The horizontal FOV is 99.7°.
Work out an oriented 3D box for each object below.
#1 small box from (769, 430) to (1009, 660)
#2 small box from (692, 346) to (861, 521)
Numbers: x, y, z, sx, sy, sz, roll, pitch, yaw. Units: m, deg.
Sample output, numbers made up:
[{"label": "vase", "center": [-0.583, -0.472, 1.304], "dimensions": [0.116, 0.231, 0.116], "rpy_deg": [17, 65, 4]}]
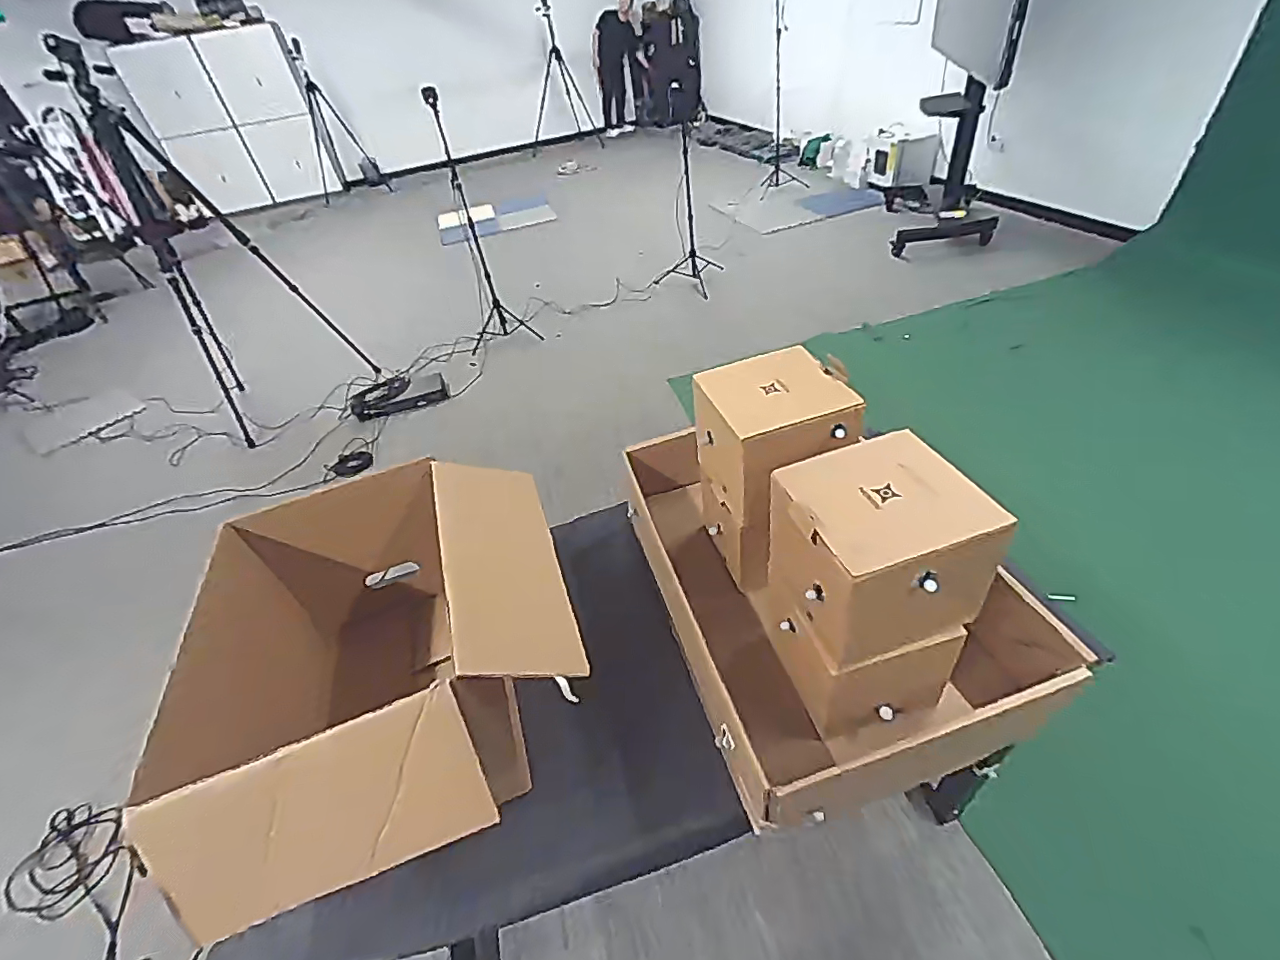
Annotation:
[{"label": "small box", "center": [0.262, 0.075, 0.613], "dimensions": [0.179, 0.176, 0.168], "rpy_deg": [-17, 42, -7]}, {"label": "small box", "center": [0.190, -0.065, 0.785], "dimensions": [0.179, 0.176, 0.168], "rpy_deg": [-17, 44, -8]}]
